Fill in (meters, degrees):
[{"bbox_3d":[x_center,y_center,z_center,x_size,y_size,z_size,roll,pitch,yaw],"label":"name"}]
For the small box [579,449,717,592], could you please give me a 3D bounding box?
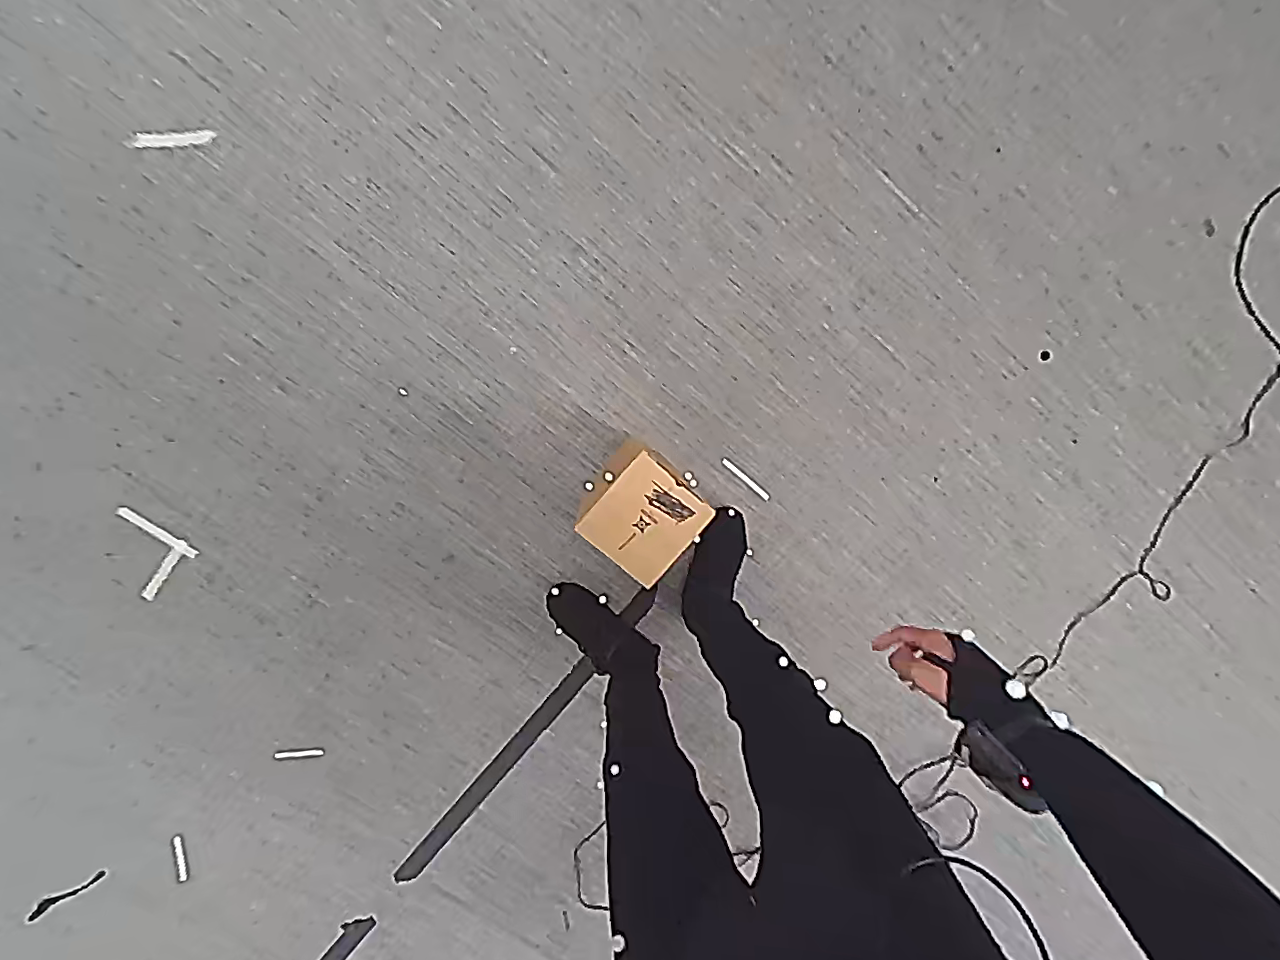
[{"bbox_3d":[0.007,0.061,0.967,0.168,0.176,0.179,40,95,-8],"label":"small box"}]
